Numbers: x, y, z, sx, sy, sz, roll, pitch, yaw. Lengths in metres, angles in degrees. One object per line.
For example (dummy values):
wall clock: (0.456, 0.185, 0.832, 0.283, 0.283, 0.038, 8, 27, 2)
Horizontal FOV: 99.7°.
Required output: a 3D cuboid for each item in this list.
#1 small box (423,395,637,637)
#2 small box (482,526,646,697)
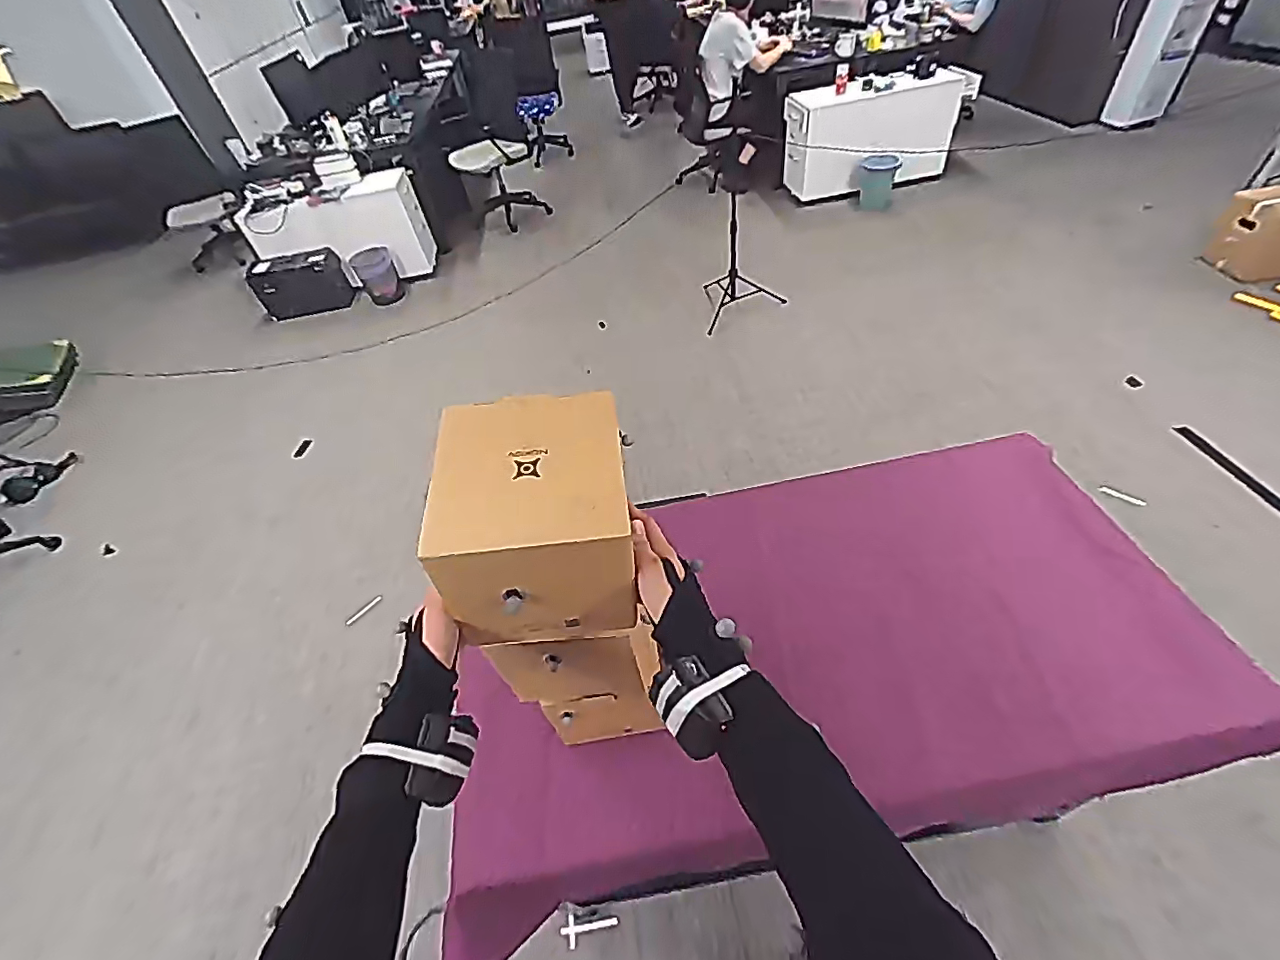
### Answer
small box: (-0.094, 0.041, 0.533, 0.168, 0.176, 0.179, -5, 48, -4)
small box: (-0.088, 0.180, 0.731, 0.179, 0.176, 0.168, -5, 47, 5)
